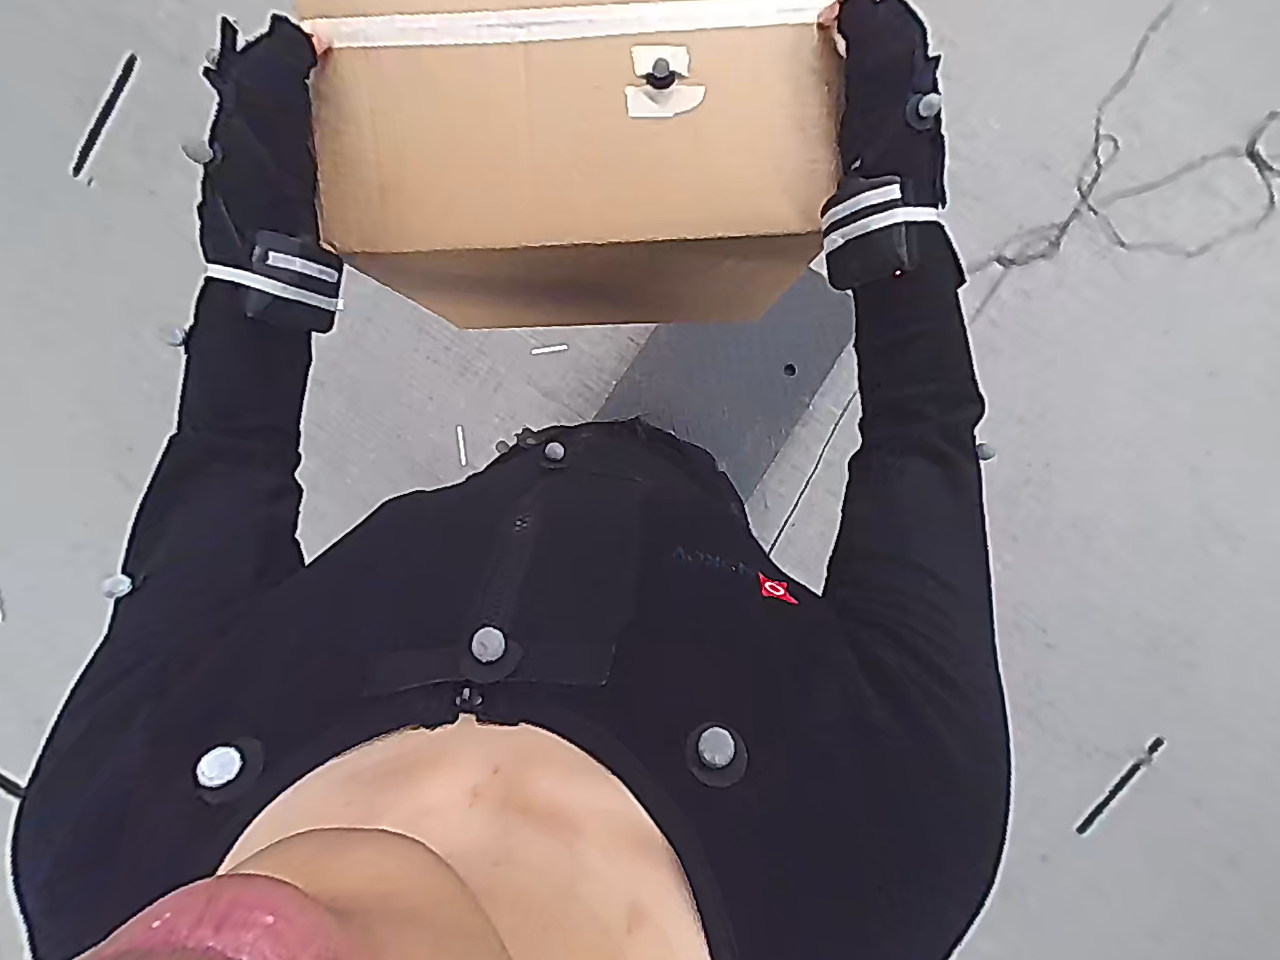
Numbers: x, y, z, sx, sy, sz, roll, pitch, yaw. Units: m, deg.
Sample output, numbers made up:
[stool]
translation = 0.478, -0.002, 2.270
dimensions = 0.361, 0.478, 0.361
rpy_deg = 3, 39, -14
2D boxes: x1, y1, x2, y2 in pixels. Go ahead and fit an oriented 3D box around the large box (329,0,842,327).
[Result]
[large box]
translation = -0.044, -0.356, 0.569
dimensions = 0.408, 0.320, 0.320
rpy_deg = -2, 95, 0
